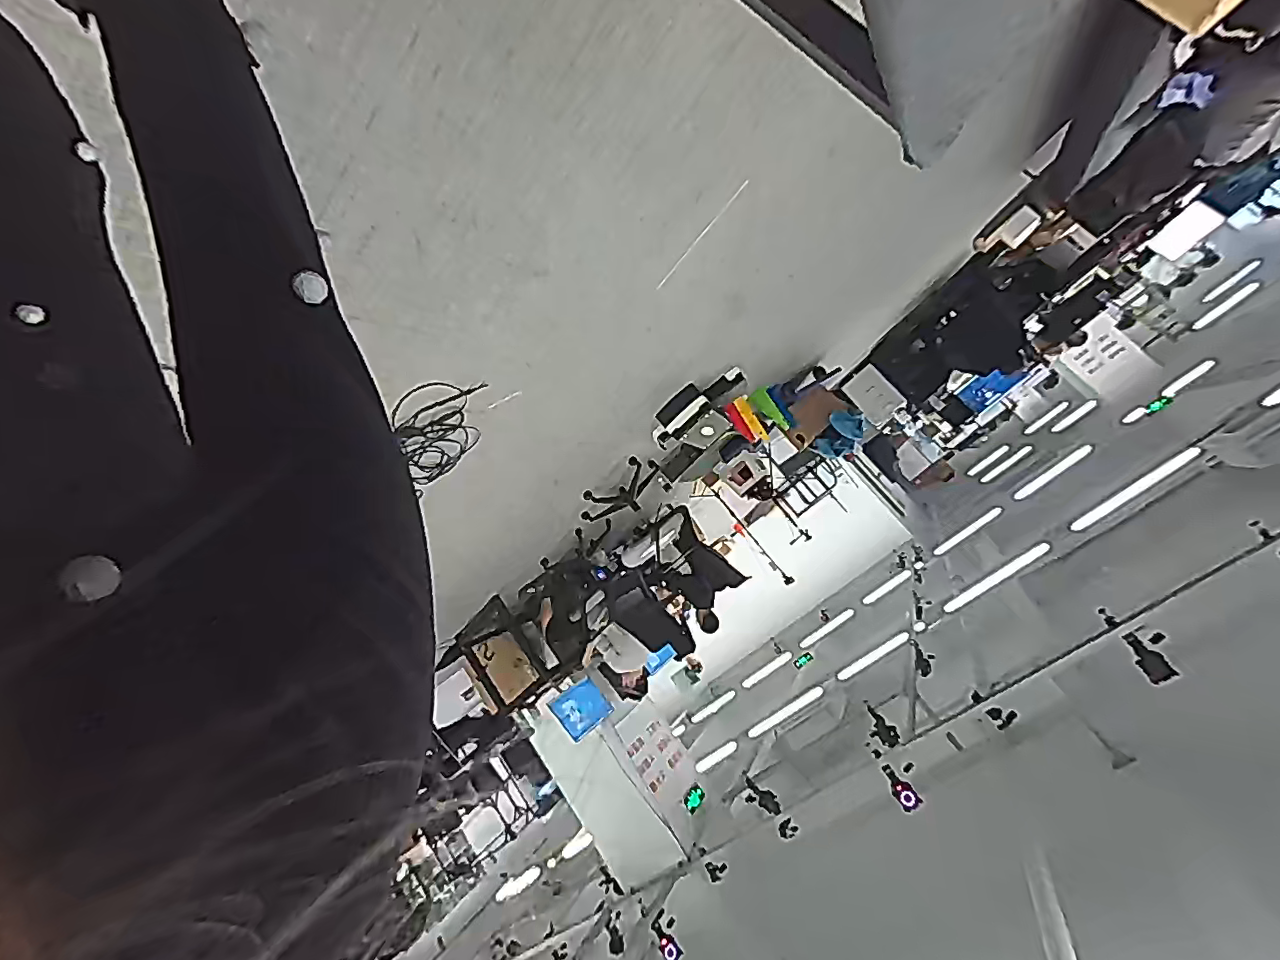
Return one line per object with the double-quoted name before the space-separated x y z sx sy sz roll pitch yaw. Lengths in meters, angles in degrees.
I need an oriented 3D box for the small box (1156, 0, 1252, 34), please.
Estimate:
"small box" 0.504 -0.527 0.422 0.179 0.176 0.168 -44 164 25
